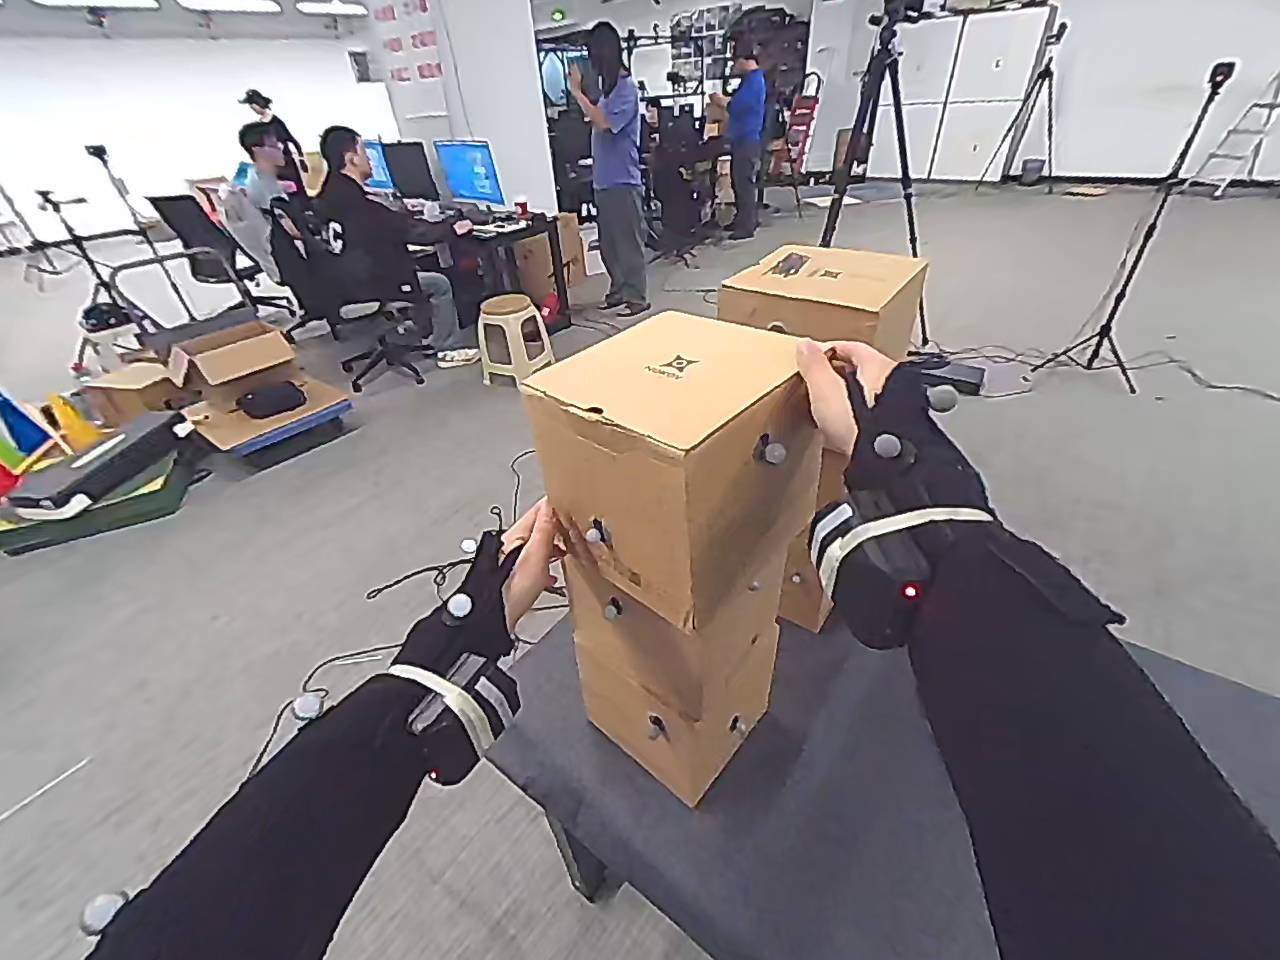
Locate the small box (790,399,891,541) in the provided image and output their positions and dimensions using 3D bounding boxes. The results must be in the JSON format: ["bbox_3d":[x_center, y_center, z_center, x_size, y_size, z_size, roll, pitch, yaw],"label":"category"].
[{"bbox_3d":[0.221,-0.043,0.748,0.179,0.176,0.168,22,47,29],"label":"small box"}]

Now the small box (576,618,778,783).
[{"bbox_3d":[0.045,0.233,0.664,0.179,0.176,0.168,26,44,34],"label":"small box"}]

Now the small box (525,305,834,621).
[{"bbox_3d":[0.035,-0.023,0.448,0.168,0.176,0.179,26,49,36],"label":"small box"}]

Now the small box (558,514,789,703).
[{"bbox_3d":[0.038,0.097,0.573,0.179,0.176,0.168,23,43,31],"label":"small box"}]

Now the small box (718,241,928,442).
[{"bbox_3d":[0.206,-0.167,0.640,0.179,0.176,0.168,23,47,31],"label":"small box"}]
